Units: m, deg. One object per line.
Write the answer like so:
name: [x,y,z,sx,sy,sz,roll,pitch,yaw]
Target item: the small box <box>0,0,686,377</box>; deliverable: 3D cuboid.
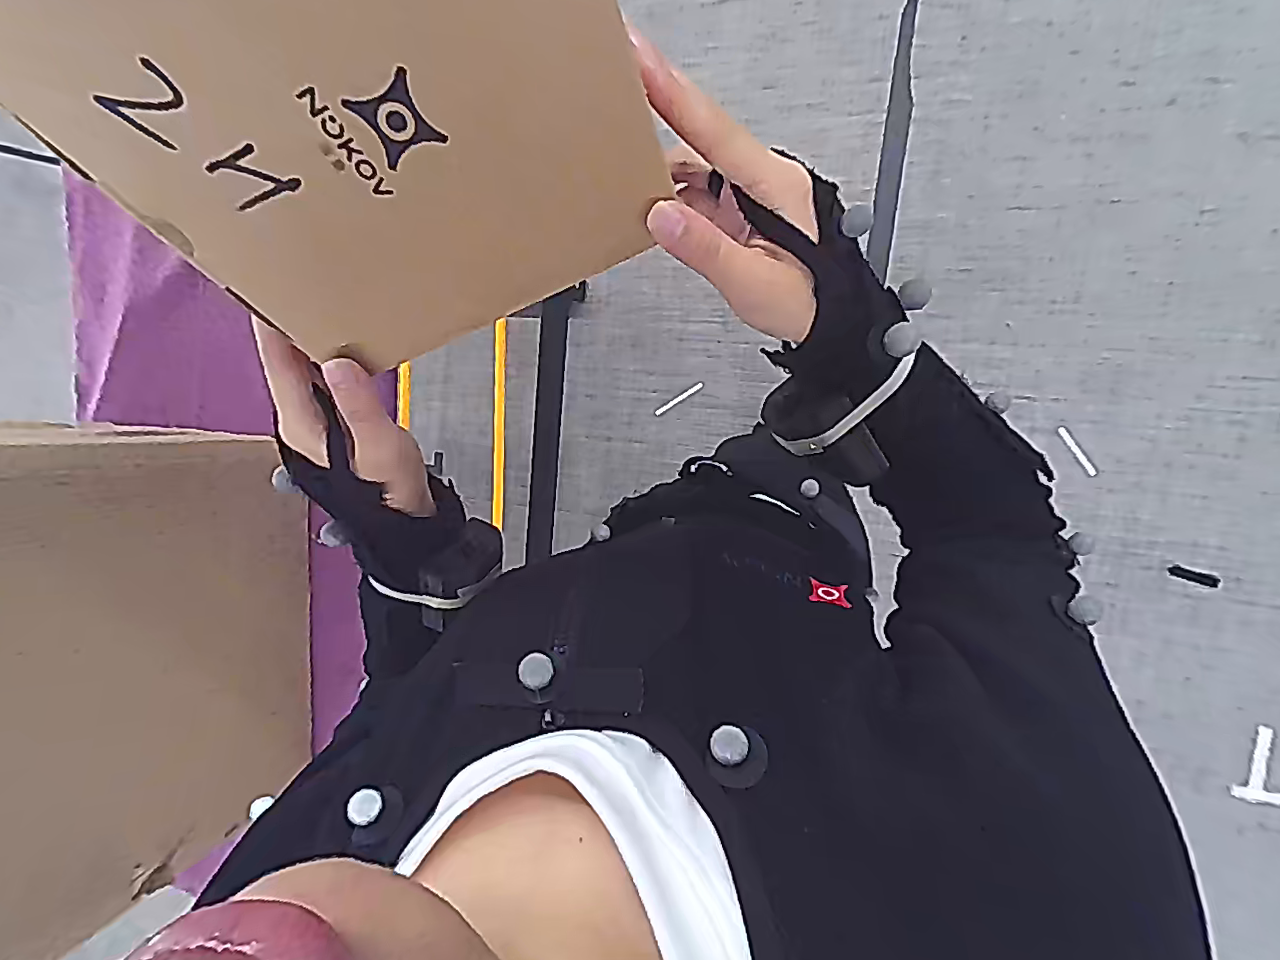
small box: [-0.100,-0.183,0.229,0.179,0.168,0.176,-21,54,9]
